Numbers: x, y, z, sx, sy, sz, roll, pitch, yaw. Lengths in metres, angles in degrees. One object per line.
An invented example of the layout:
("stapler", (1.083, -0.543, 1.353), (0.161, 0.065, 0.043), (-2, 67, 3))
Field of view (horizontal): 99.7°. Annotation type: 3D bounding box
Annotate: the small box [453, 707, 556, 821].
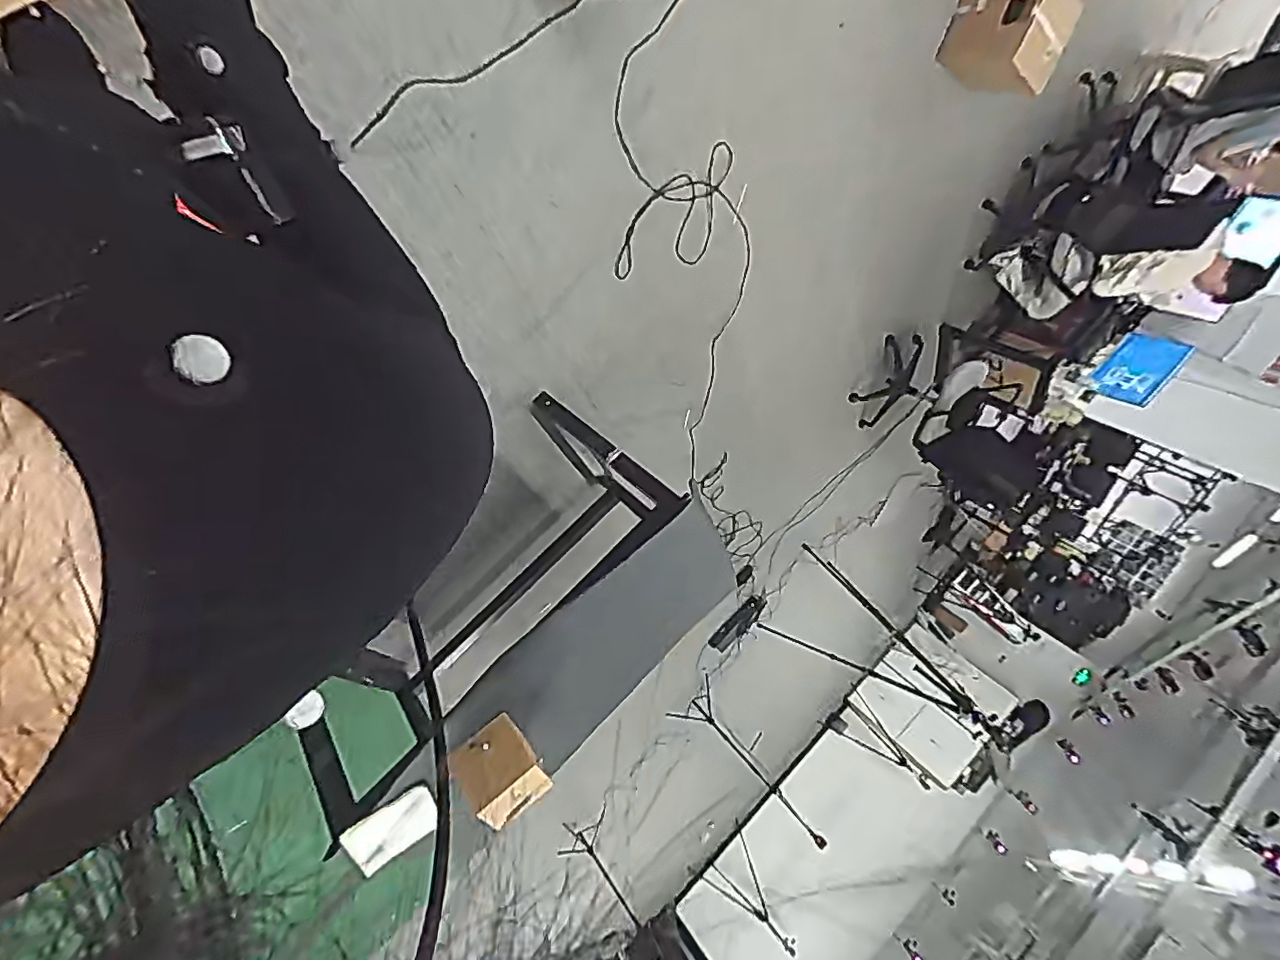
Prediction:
("small box", (-0.342, 0.712, 1.365), (0.168, 0.176, 0.179), (-35, 141, -22))
